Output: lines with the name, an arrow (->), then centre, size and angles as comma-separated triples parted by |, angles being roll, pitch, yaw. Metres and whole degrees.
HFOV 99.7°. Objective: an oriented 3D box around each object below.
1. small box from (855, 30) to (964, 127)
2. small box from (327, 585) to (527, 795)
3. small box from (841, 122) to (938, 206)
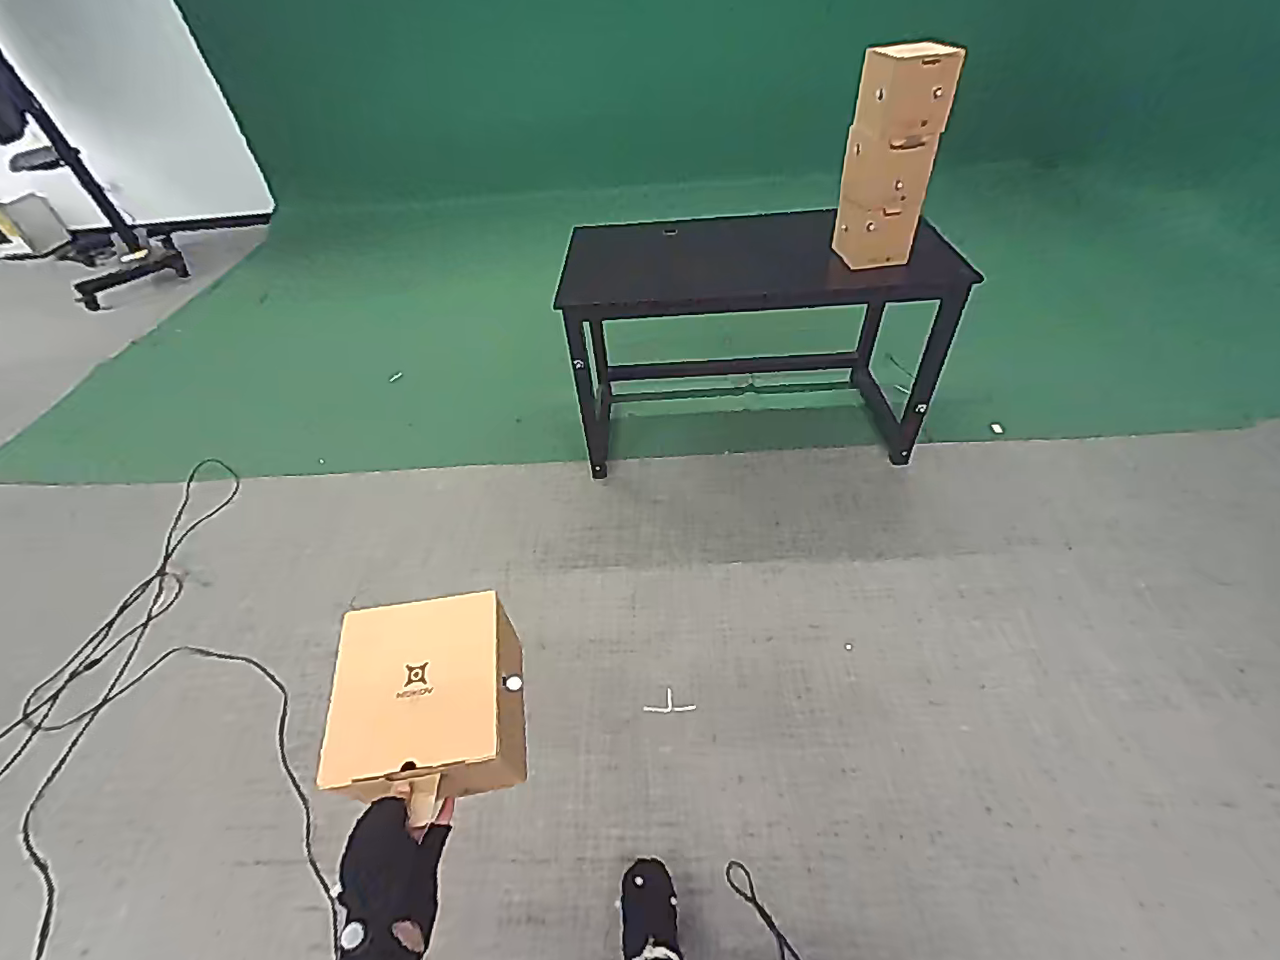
small box -> 0.658, -0.993, 1.344 | 0.168, 0.176, 0.179 | -8, 44, -2
small box -> -0.227, 0.244, 0.624 | 0.168, 0.176, 0.179 | -7, 55, -6
small box -> 0.665, -0.865, 1.470 | 0.168, 0.176, 0.179 | -9, 45, -2
